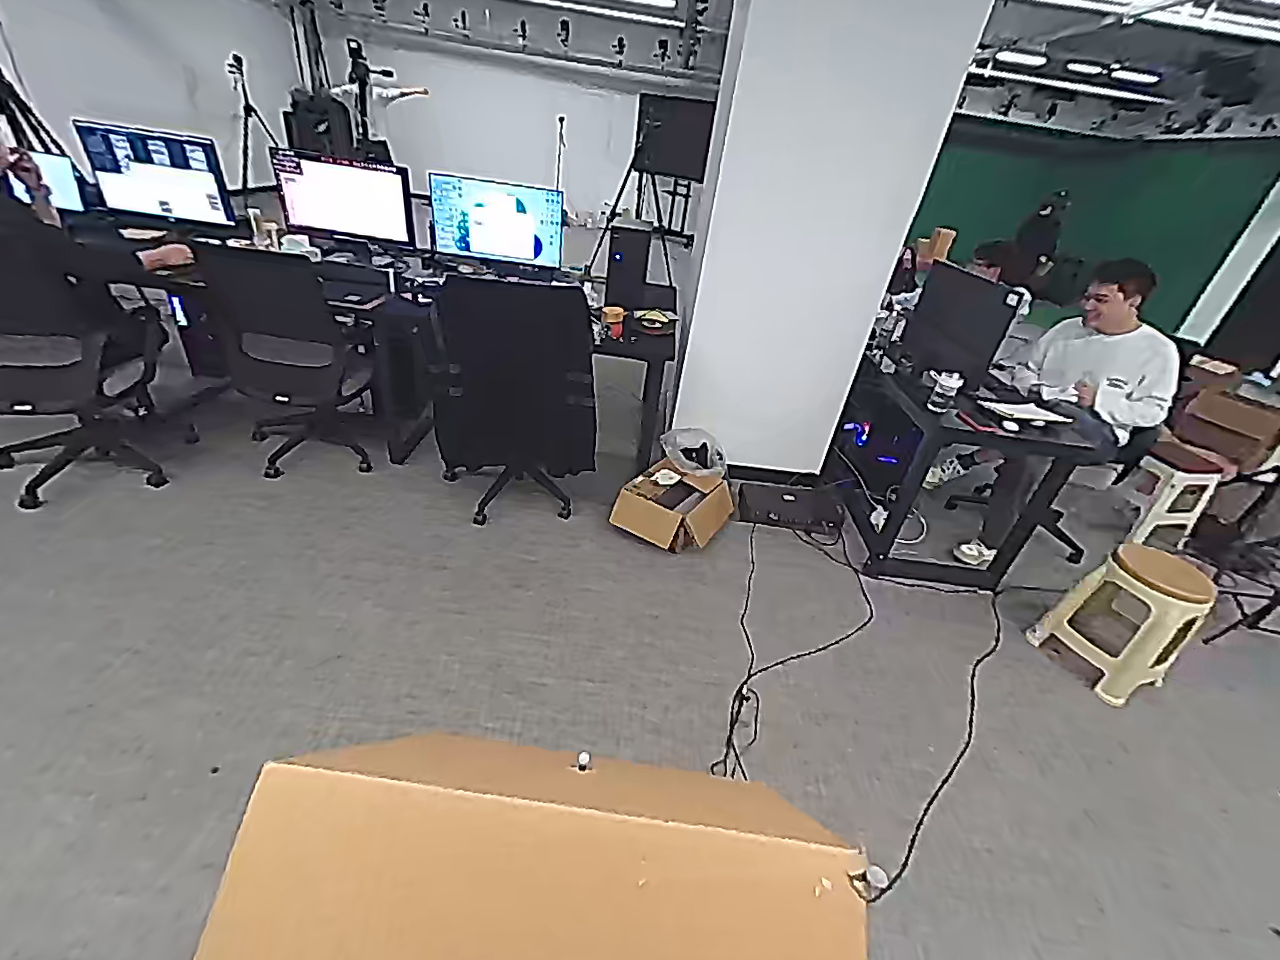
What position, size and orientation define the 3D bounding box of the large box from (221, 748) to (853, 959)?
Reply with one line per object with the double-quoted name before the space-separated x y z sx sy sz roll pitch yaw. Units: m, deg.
"large box" -0.075 0.422 0.451 0.408 0.320 0.320 7 69 2
